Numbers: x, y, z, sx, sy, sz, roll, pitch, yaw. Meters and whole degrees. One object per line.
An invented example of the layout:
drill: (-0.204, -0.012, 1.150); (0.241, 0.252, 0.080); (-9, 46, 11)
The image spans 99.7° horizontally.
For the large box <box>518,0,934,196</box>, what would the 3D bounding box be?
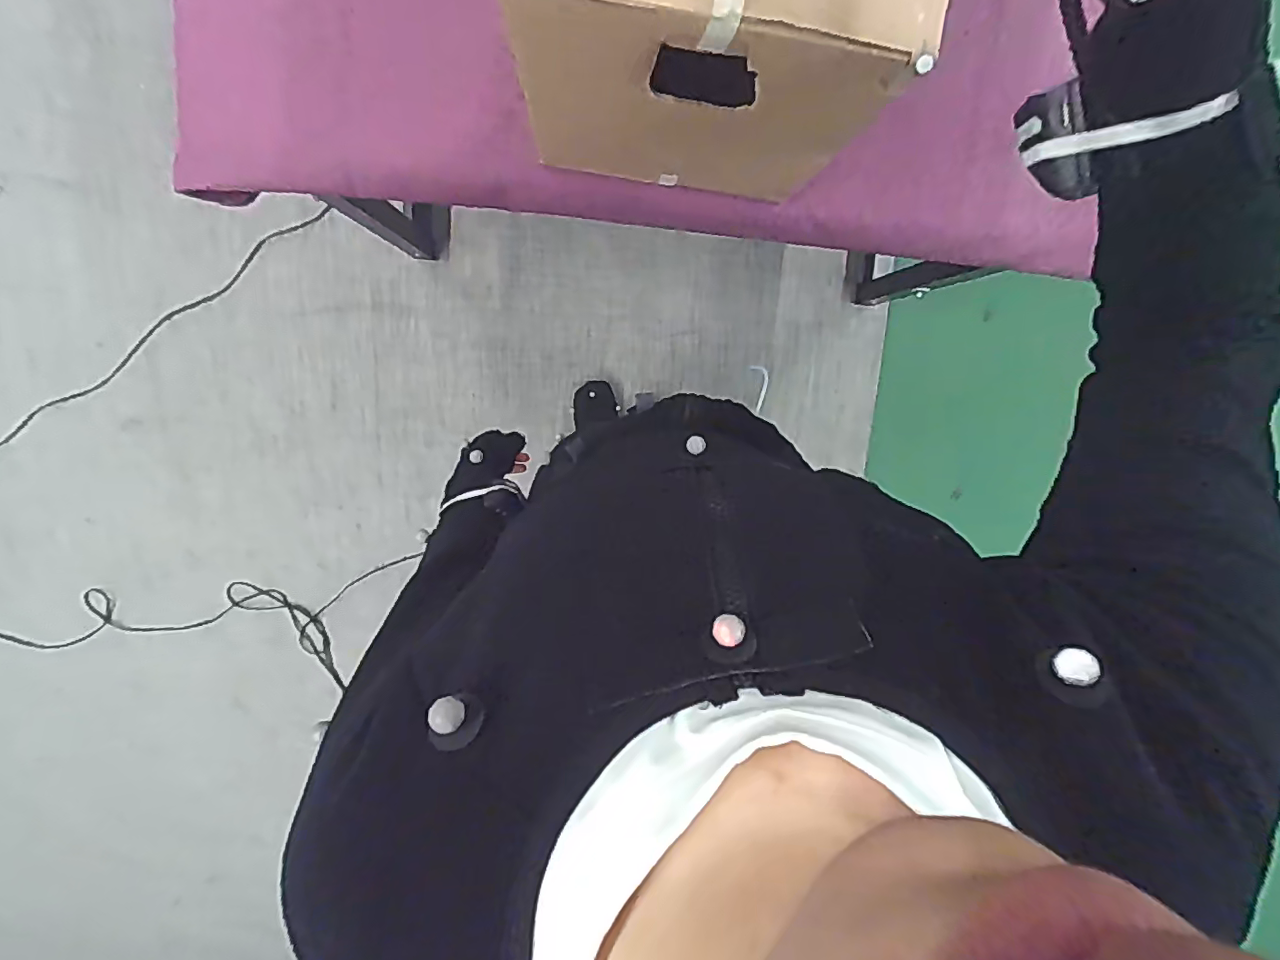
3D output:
large box: (0.070, -0.545, 0.501); (0.320, 0.320, 0.408); (6, 101, -5)
